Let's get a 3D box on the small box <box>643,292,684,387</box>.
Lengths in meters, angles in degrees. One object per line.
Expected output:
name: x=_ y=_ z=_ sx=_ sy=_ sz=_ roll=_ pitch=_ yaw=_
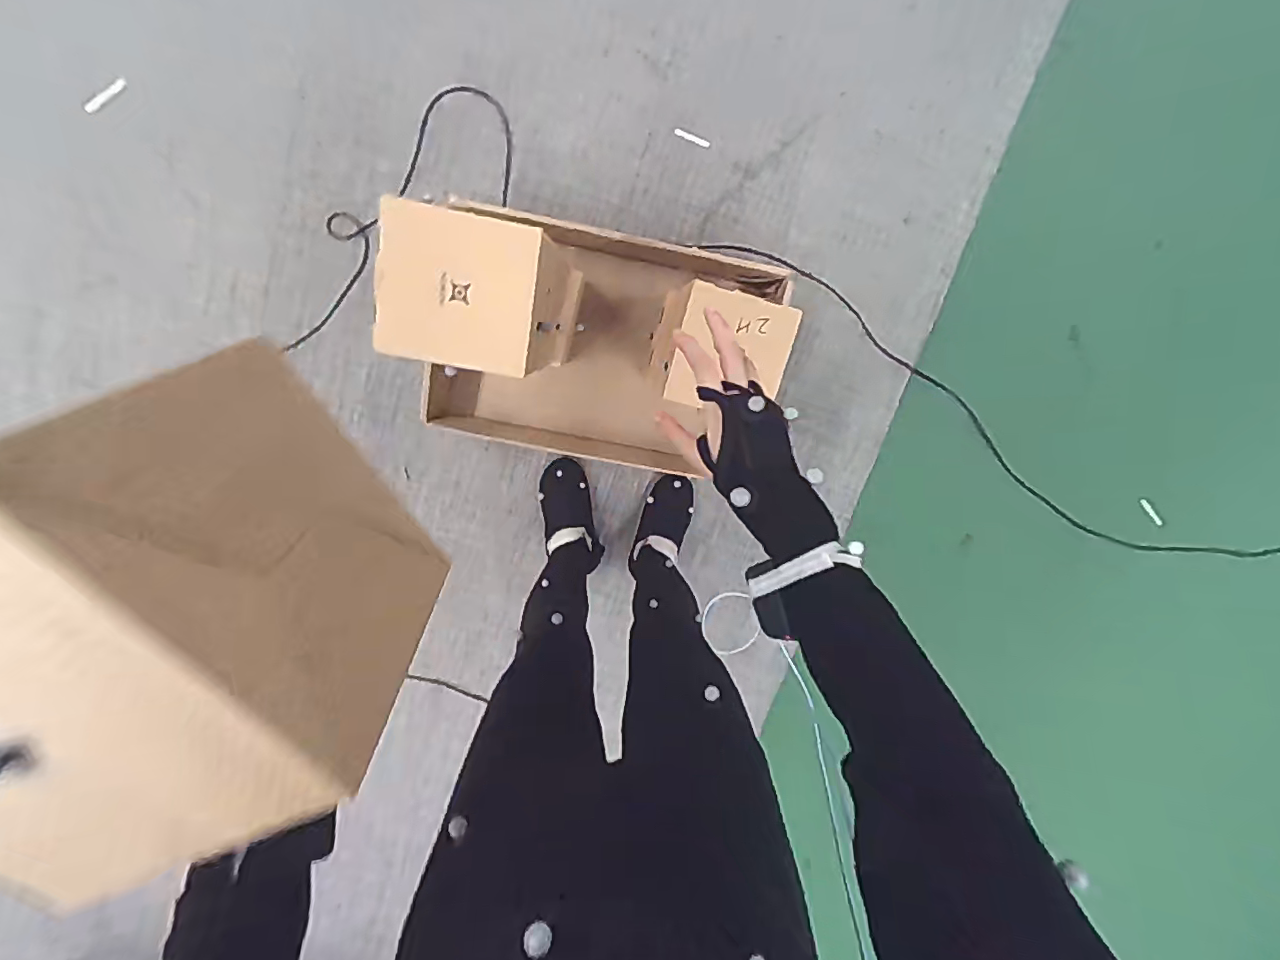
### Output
small box: x=0.109 y=-0.241 z=1.022 sx=0.179 sy=0.176 sz=0.168 roll=15 pitch=103 yaw=-6

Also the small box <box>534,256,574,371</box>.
small box: x=-0.209 y=-0.274 z=0.831 sx=0.179 sy=0.176 sz=0.168 roll=15 pitch=104 yaw=-7

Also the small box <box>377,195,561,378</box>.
small box: x=-0.201 y=-0.232 z=0.675 sx=0.179 sy=0.176 sz=0.168 roll=10 pitch=105 yaw=-4

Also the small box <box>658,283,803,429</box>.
small box: x=0.131 y=-0.196 z=0.864 sx=0.168 sy=0.176 sz=0.179 roll=15 pitch=102 yaw=-7
